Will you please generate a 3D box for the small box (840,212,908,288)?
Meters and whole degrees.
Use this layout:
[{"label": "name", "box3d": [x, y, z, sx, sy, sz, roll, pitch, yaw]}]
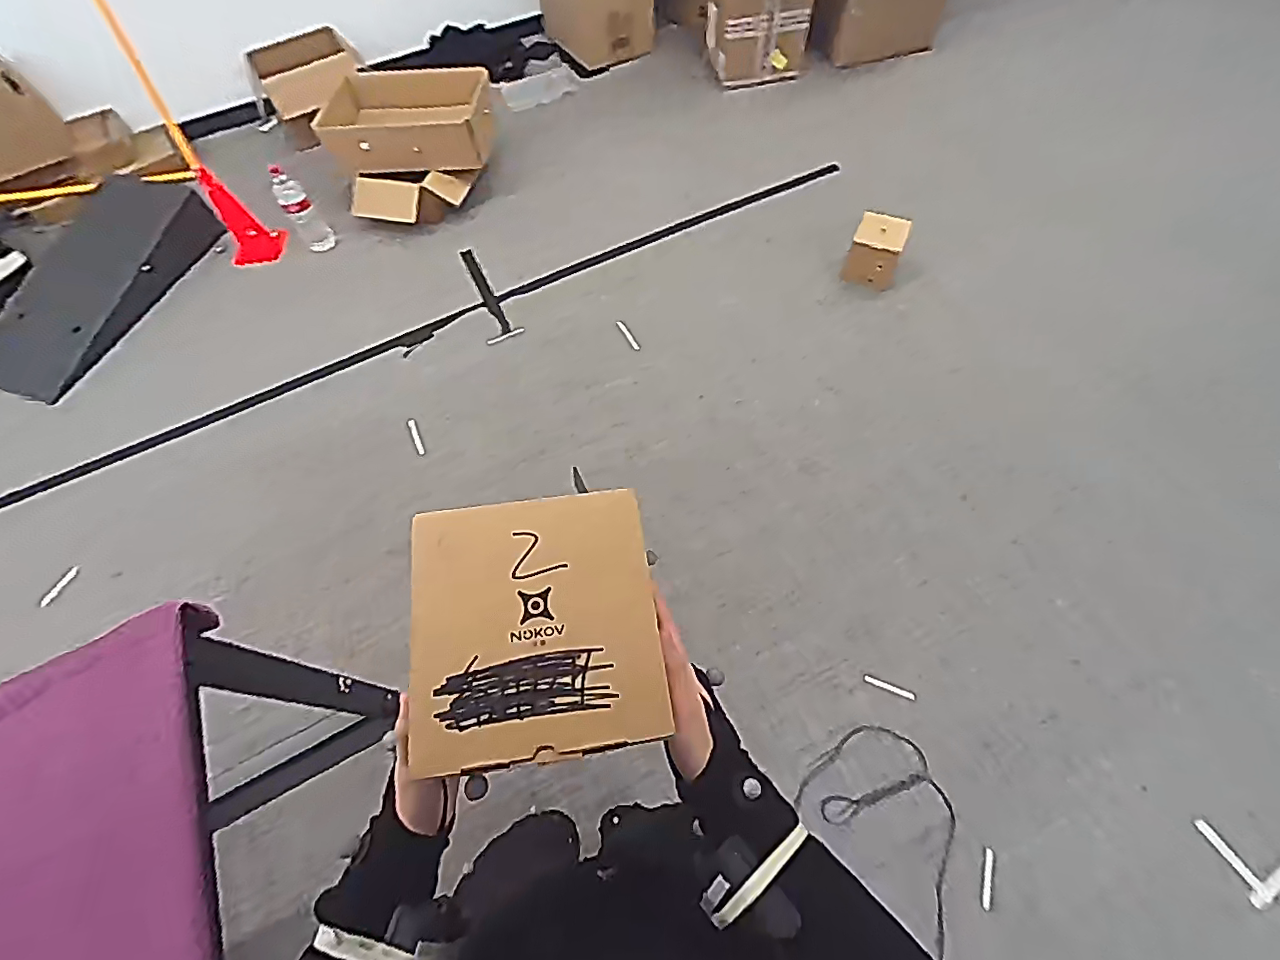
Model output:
[{"label": "small box", "box3d": [0.838, -0.827, 1.953, 0.168, 0.176, 0.179, 21, 64, 14]}]
